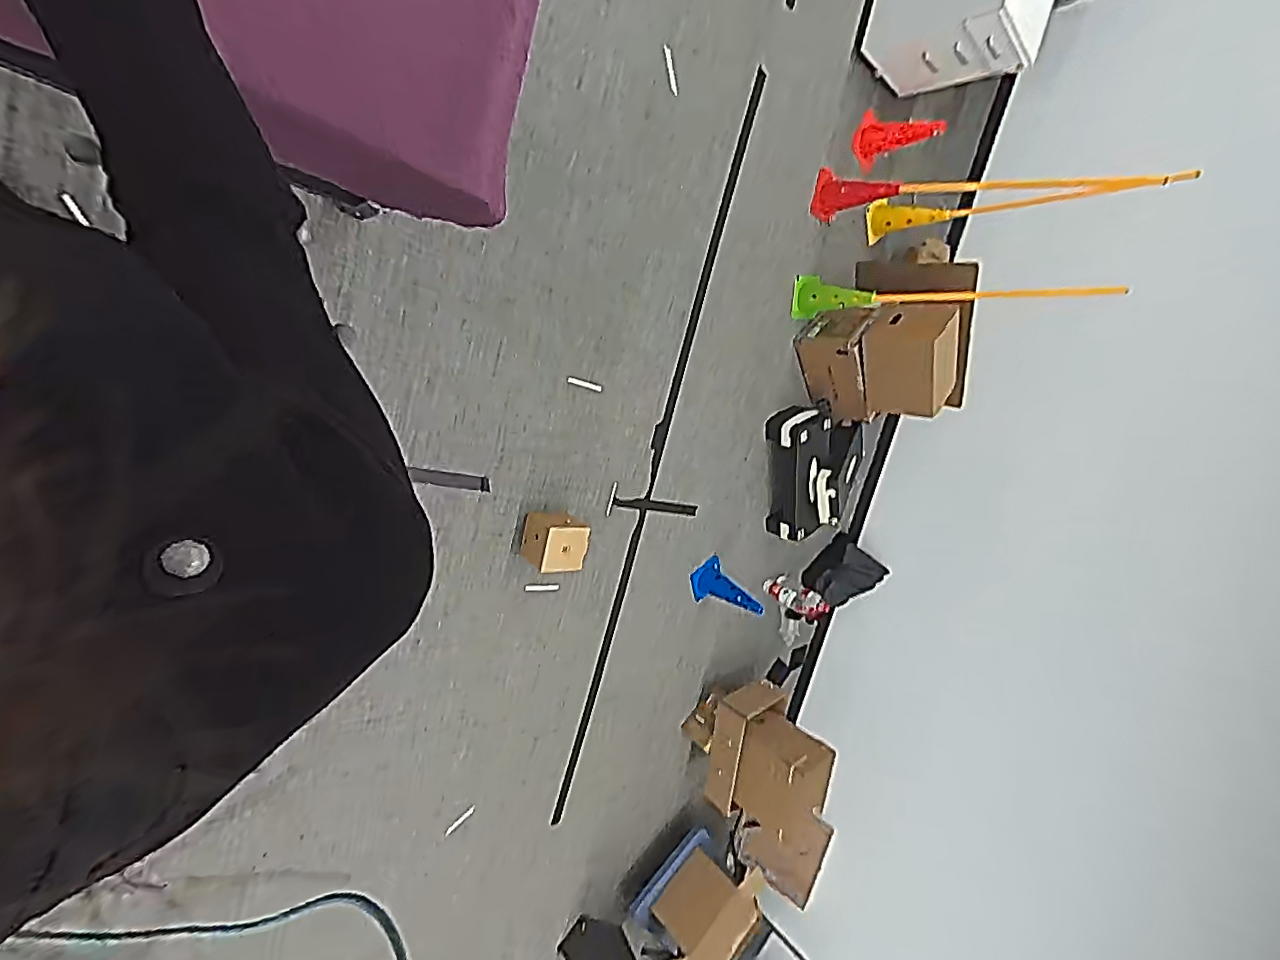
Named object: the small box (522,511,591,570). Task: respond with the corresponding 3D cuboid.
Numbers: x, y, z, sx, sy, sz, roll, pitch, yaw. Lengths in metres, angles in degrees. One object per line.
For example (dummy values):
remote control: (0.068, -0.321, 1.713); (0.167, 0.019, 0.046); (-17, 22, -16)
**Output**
small box: (-0.307, 0.214, 1.963); (0.179, 0.176, 0.168); (3, 104, -42)
